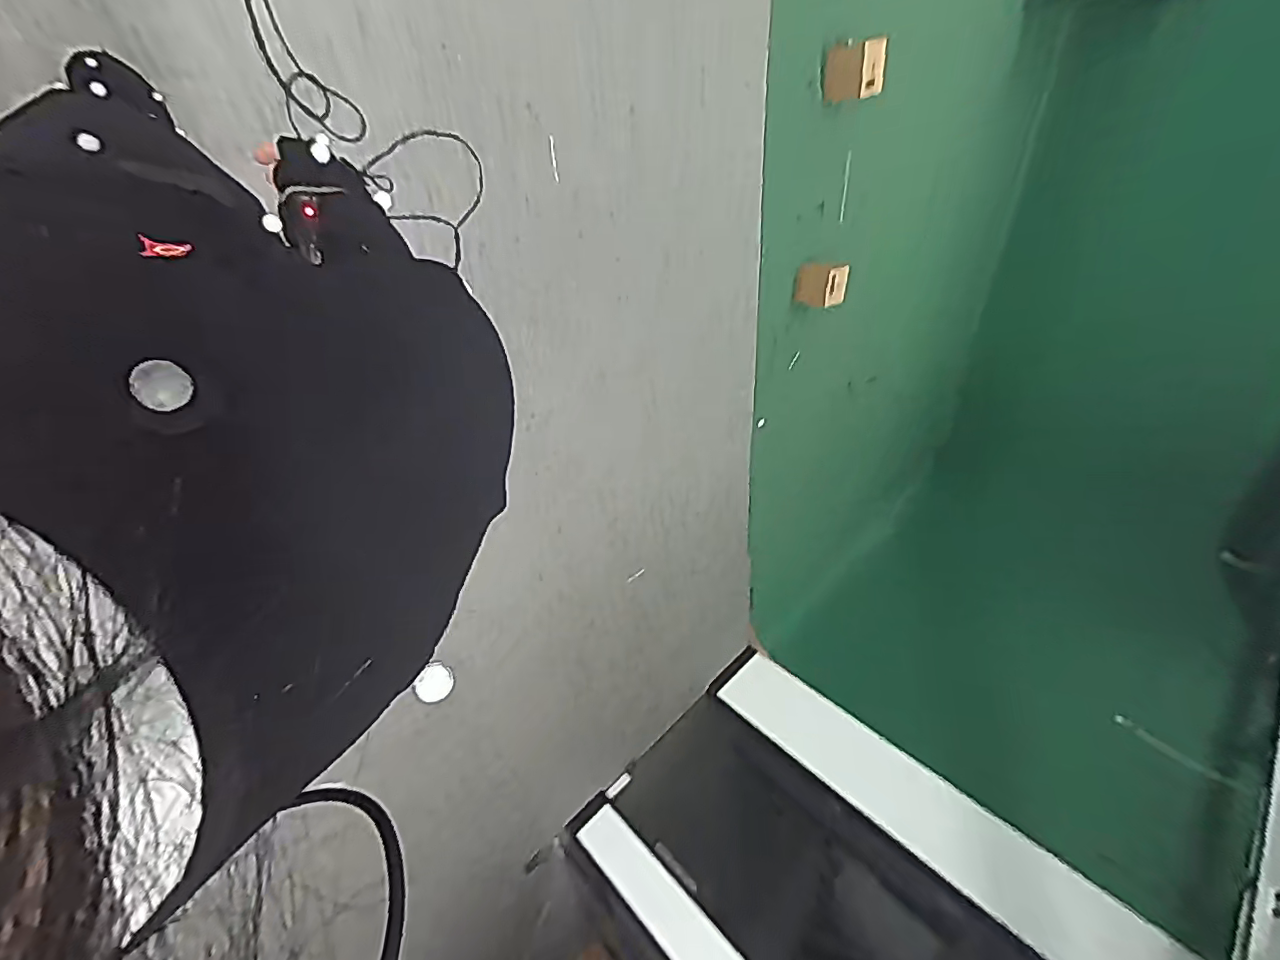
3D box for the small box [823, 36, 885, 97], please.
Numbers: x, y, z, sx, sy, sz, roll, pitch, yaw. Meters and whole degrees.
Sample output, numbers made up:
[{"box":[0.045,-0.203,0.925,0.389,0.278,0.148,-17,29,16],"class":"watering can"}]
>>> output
[{"box":[0.855,-1.658,2.173,0.168,0.176,0.179,-34,133,-30],"class":"small box"}]
